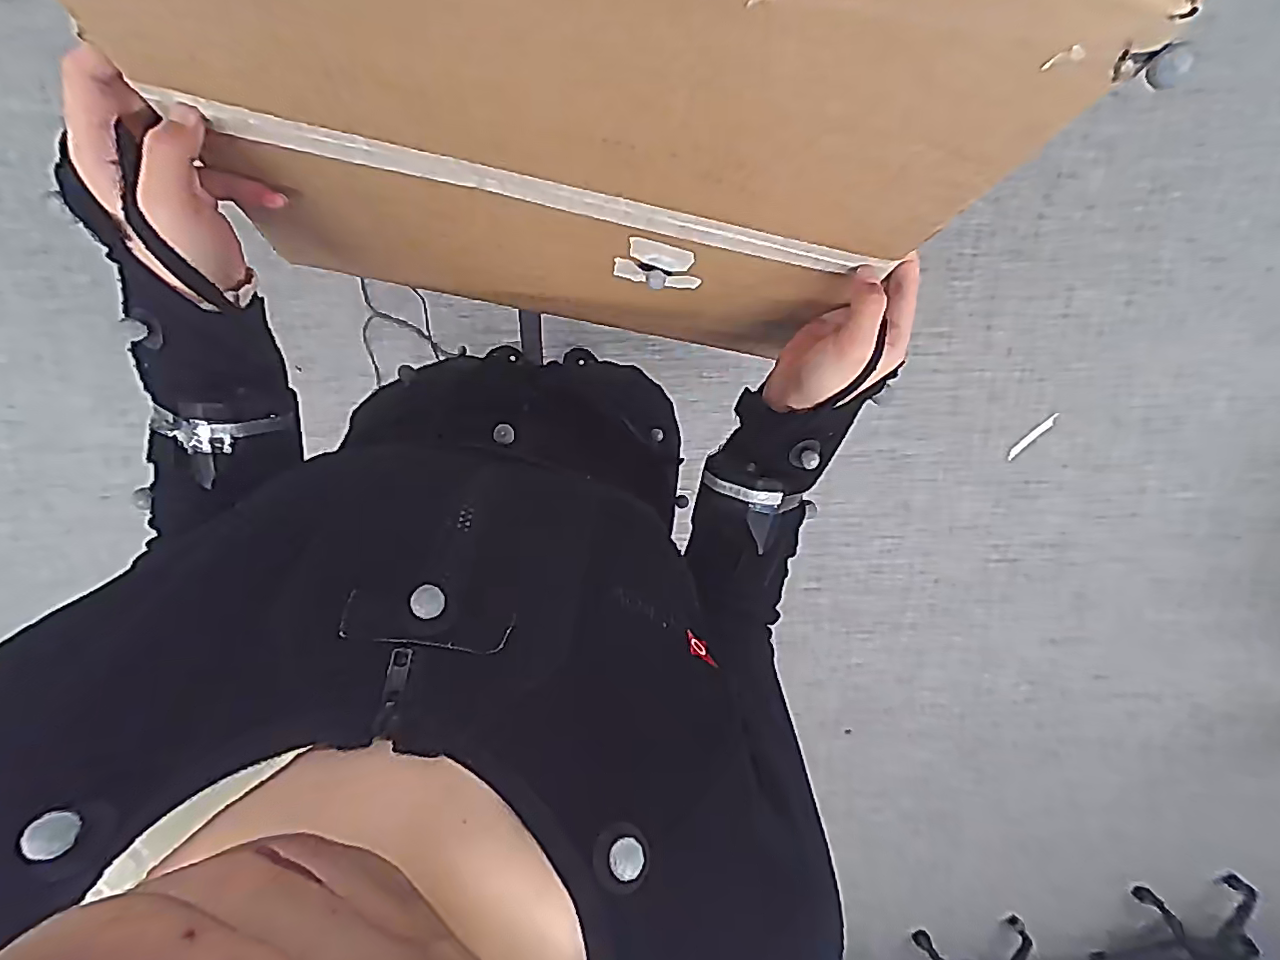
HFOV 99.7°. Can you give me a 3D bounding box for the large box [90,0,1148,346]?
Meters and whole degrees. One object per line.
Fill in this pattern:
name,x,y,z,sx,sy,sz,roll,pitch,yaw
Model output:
large box,-0.029,-0.313,0.326,0.408,0.320,0.320,8,81,-9
